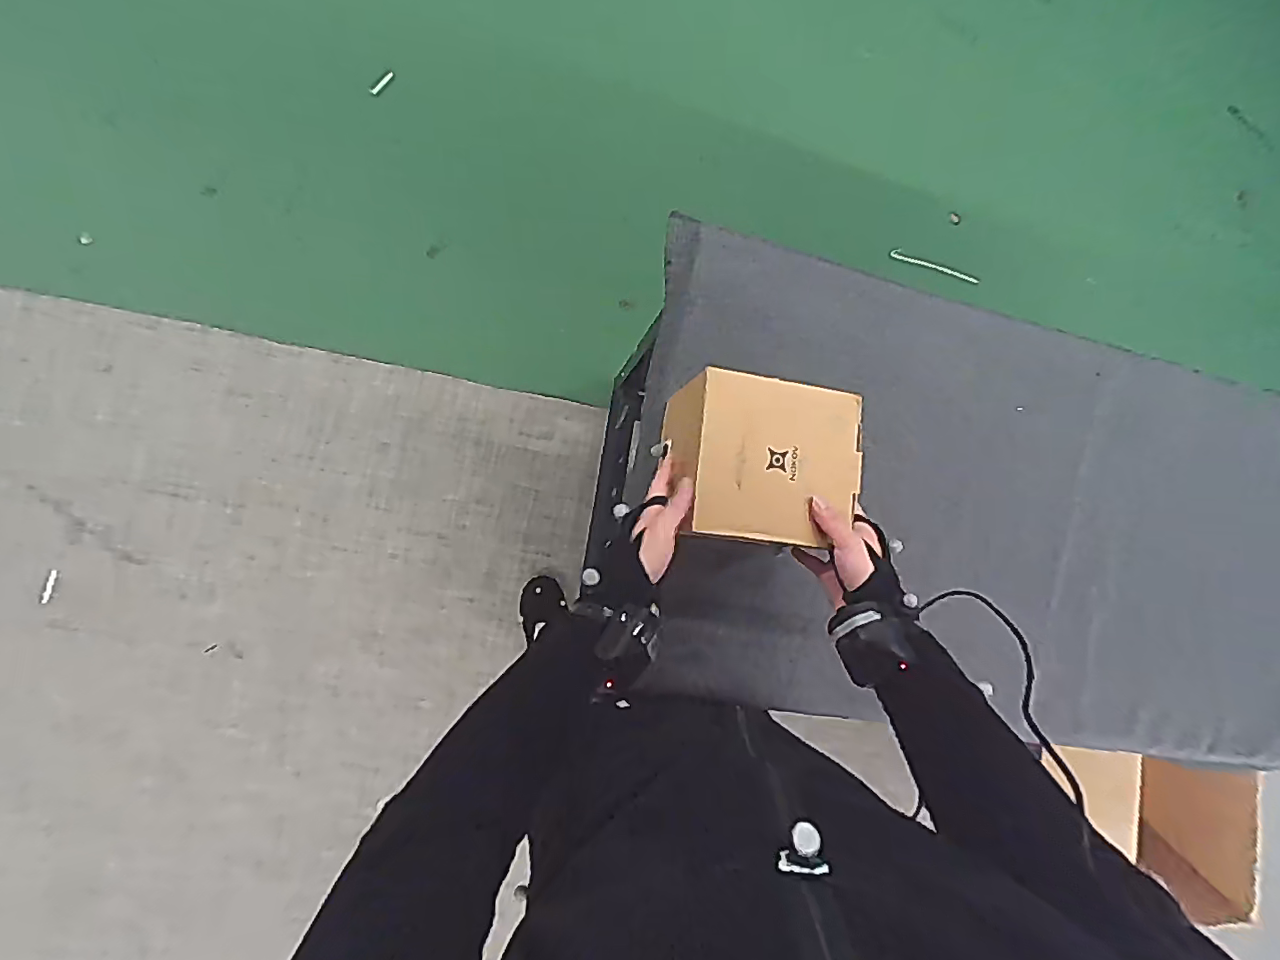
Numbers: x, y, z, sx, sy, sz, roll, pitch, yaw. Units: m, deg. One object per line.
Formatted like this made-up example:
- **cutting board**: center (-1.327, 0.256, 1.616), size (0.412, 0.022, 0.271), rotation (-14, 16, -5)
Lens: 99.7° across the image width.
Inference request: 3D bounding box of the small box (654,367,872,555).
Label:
- **small box**: center (0.126, -0.012, 0.604), size (0.179, 0.176, 0.168), rotation (7, 84, -11)
